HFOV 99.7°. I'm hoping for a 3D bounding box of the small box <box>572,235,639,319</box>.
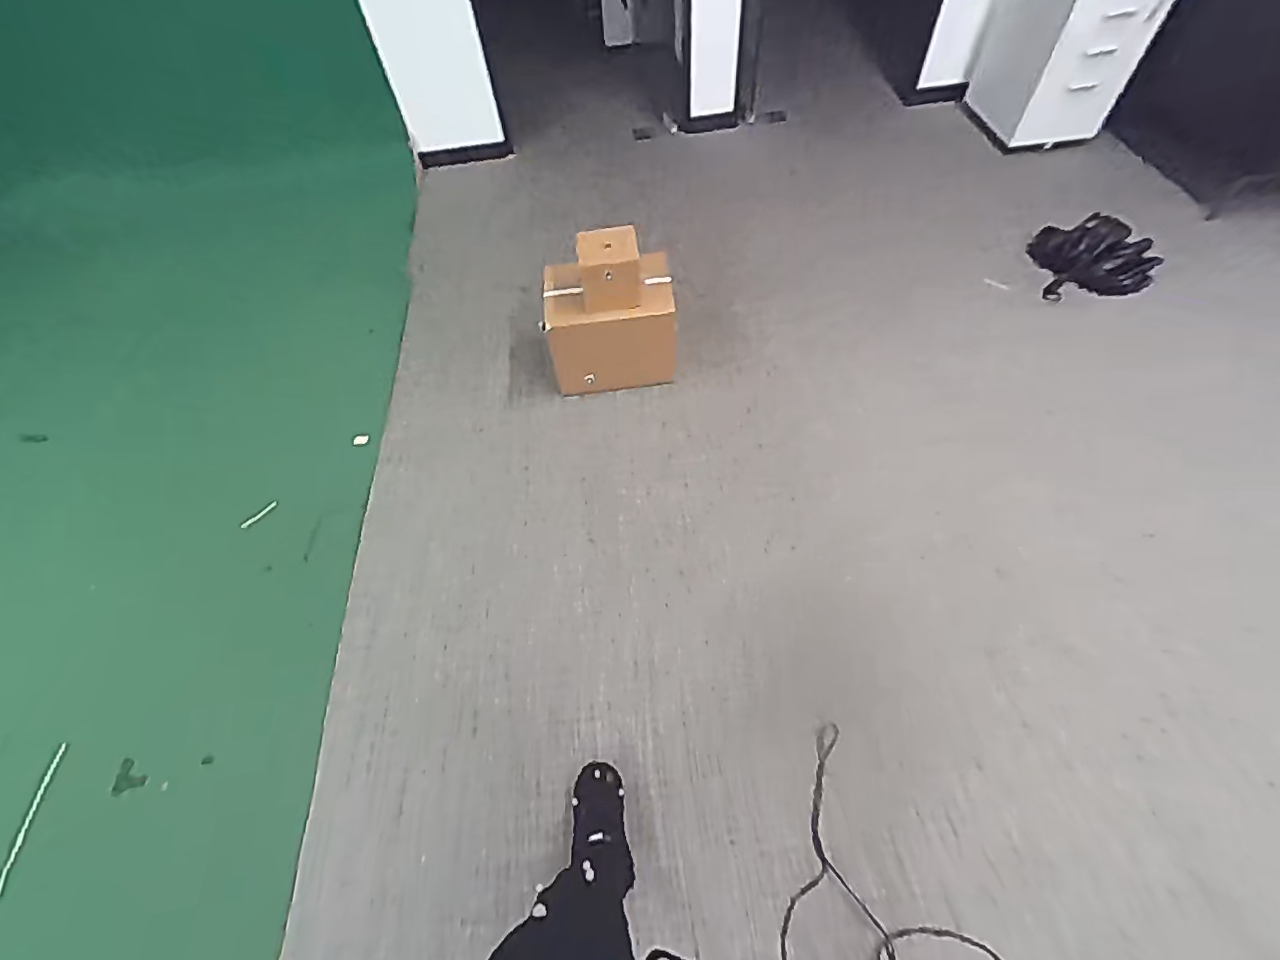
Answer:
[{"bbox_3d":[-0.103,-0.608,1.636,0.179,0.176,0.168,-8,57,-1],"label":"small box"}]
